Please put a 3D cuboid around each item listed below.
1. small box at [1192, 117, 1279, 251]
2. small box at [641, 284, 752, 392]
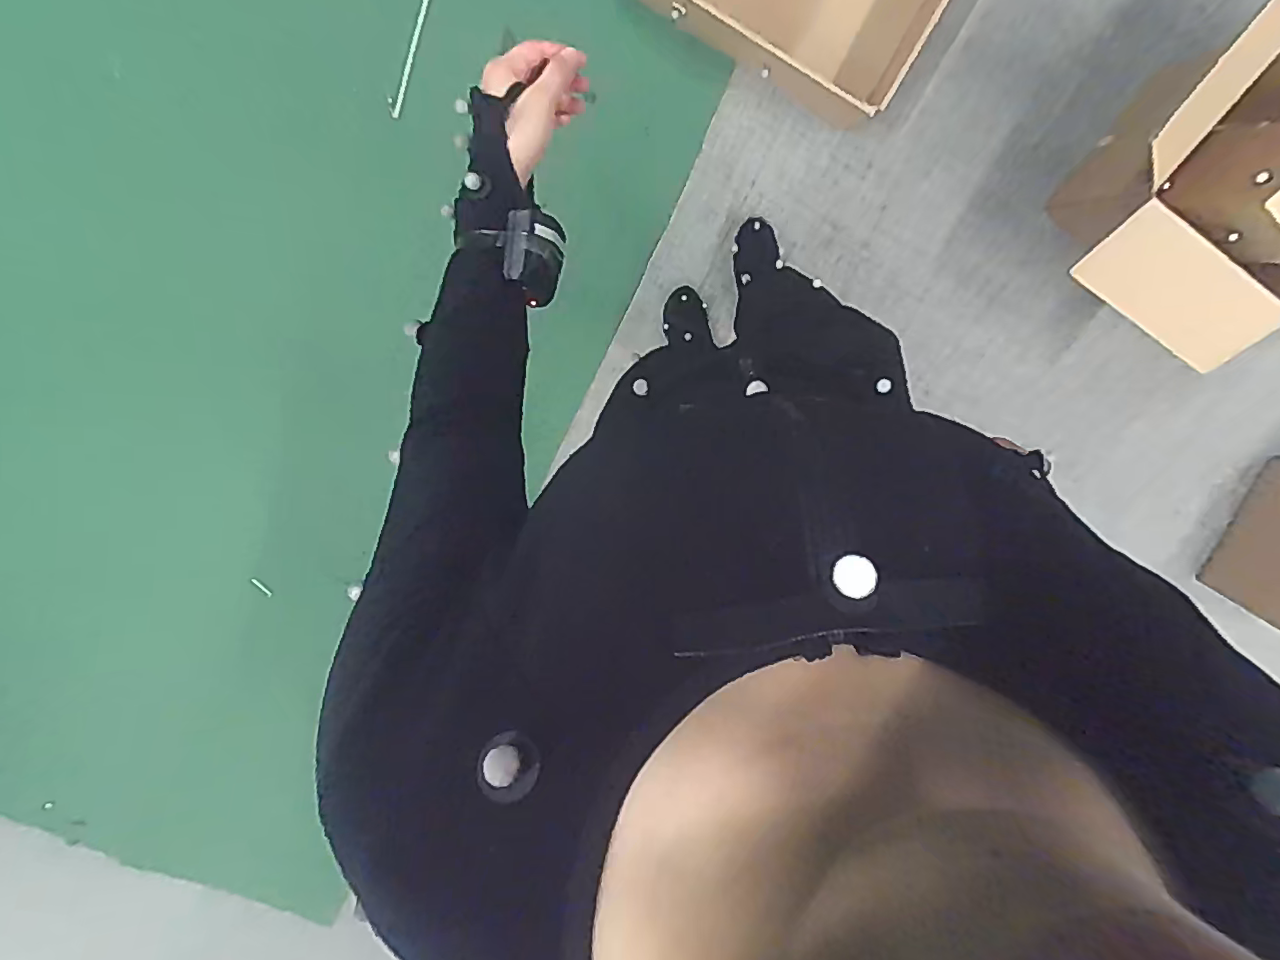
[{"bbox_3d":[1.178,-0.536,0.982,0.168,0.176,0.179,33,110,-14],"label":"small box"},{"bbox_3d":[0.141,-0.339,1.292,0.176,0.168,0.179,33,88,-41],"label":"small box"}]
